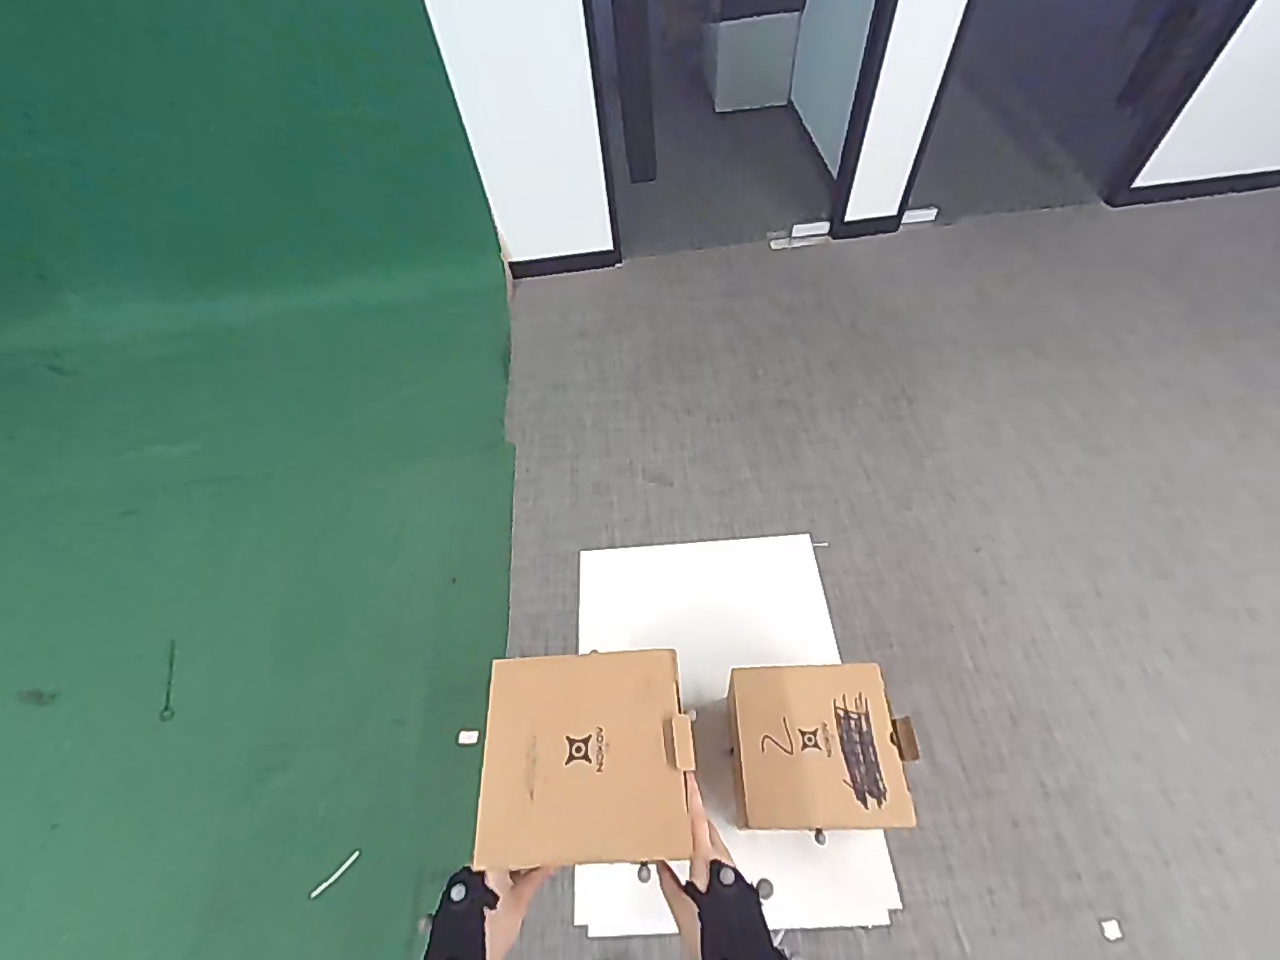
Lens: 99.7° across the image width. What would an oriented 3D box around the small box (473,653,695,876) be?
[{"bbox_3d":[-0.044,0.280,0.530,0.179,0.176,0.168,-5,55,1],"label":"small box"}]
